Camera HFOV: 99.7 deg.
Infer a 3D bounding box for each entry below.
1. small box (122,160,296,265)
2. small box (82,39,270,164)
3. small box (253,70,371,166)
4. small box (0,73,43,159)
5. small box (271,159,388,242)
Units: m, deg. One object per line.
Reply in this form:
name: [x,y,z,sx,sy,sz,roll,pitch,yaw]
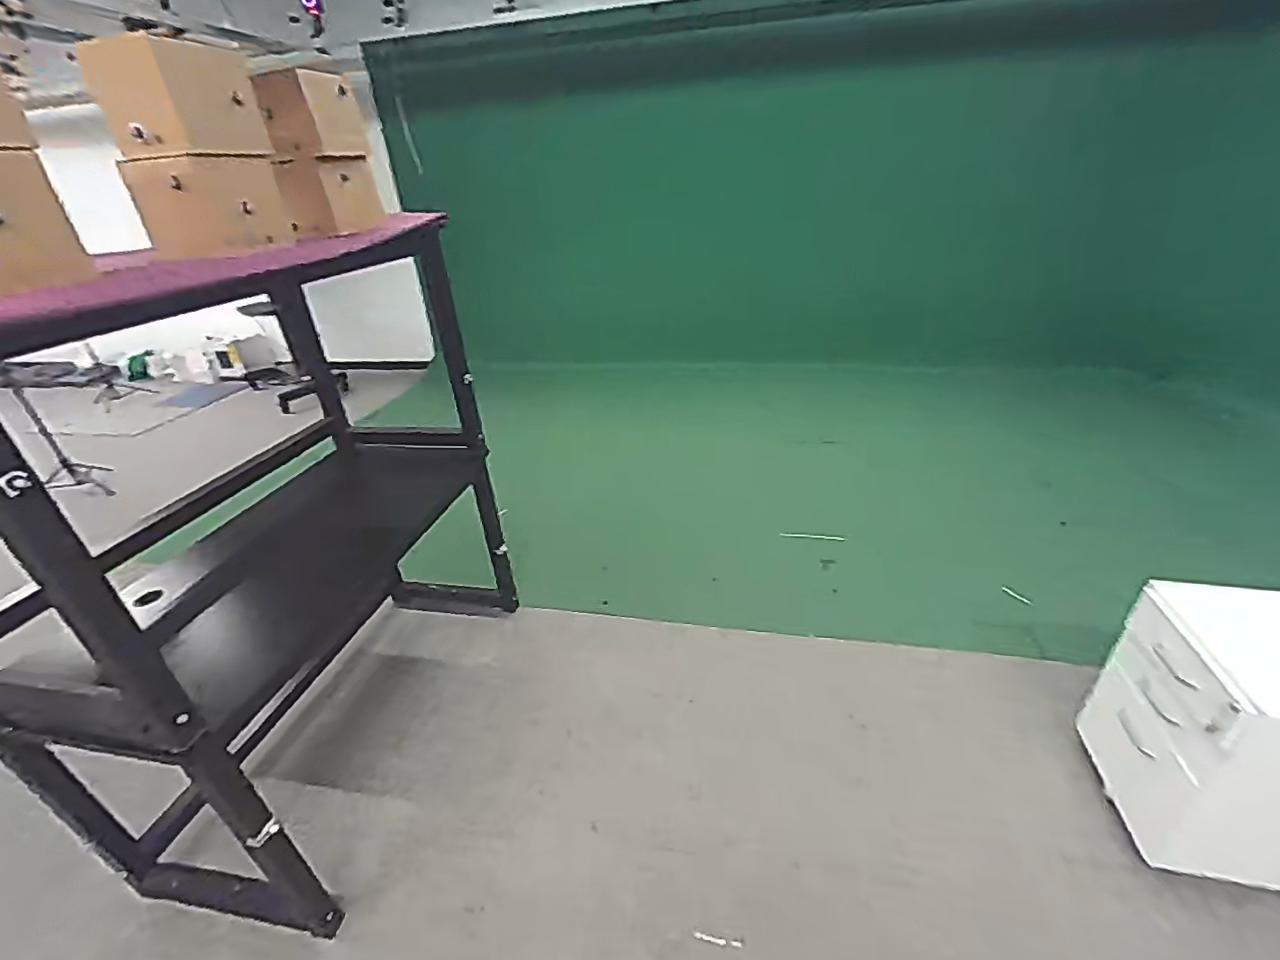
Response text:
small box: [-0.817,-0.519,1.047,0.179,0.176,0.168,4,29,14]
small box: [-0.813,-0.665,0.975,0.168,0.176,0.179,3,31,14]
small box: [-0.772,-0.839,1.273,0.168,0.176,0.179,2,31,14]
small box: [-0.883,-0.465,0.623,0.168,0.176,0.179,4,31,13]
small box: [-0.771,-0.700,1.359,0.168,0.176,0.179,4,31,18]
